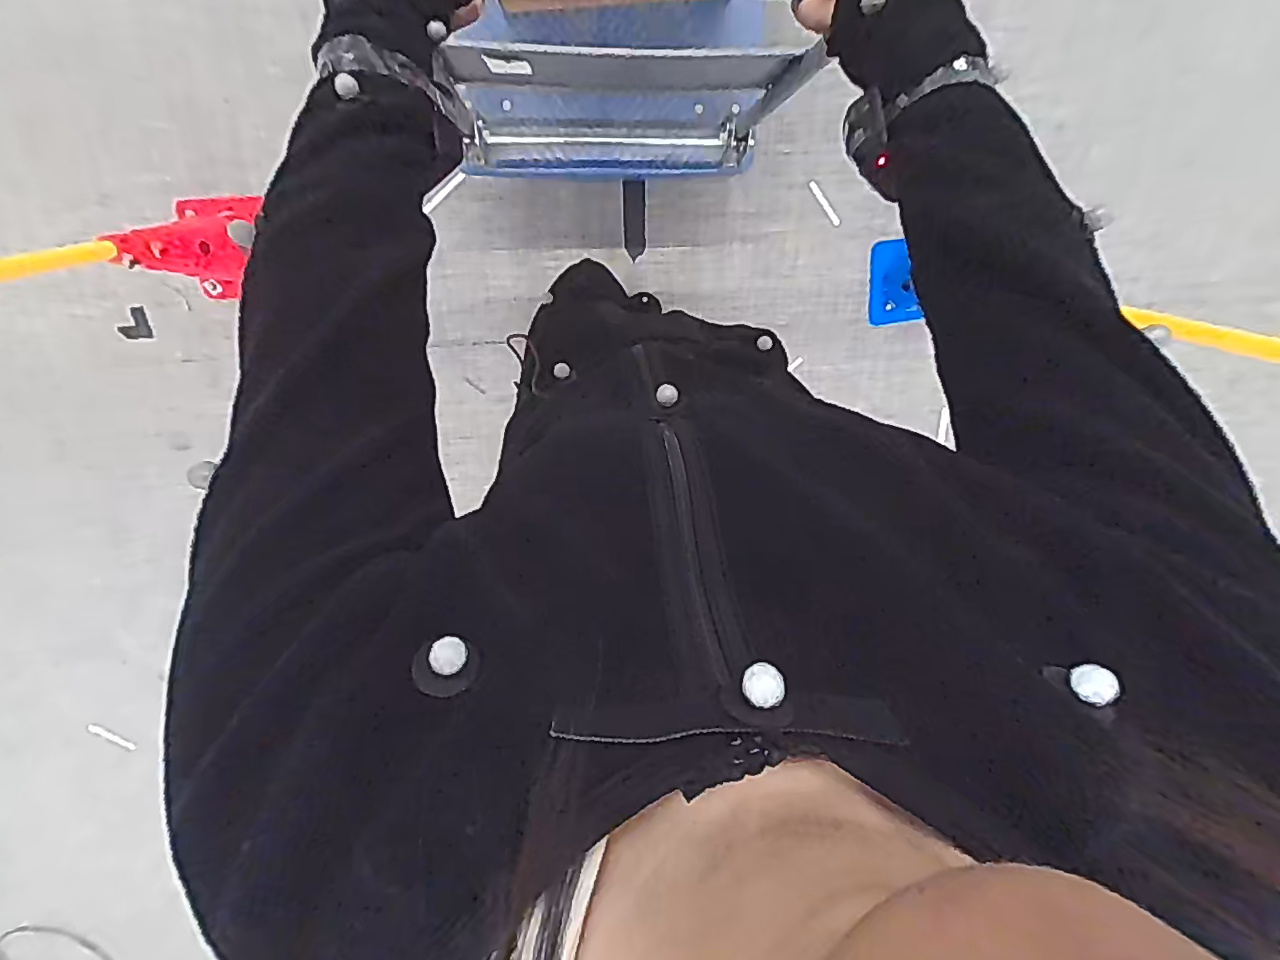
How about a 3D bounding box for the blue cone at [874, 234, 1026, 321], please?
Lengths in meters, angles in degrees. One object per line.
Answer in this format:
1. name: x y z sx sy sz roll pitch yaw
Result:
1. blue cone: 0.690 -0.438 1.189 0.193 0.380 0.192 -8 112 -4
